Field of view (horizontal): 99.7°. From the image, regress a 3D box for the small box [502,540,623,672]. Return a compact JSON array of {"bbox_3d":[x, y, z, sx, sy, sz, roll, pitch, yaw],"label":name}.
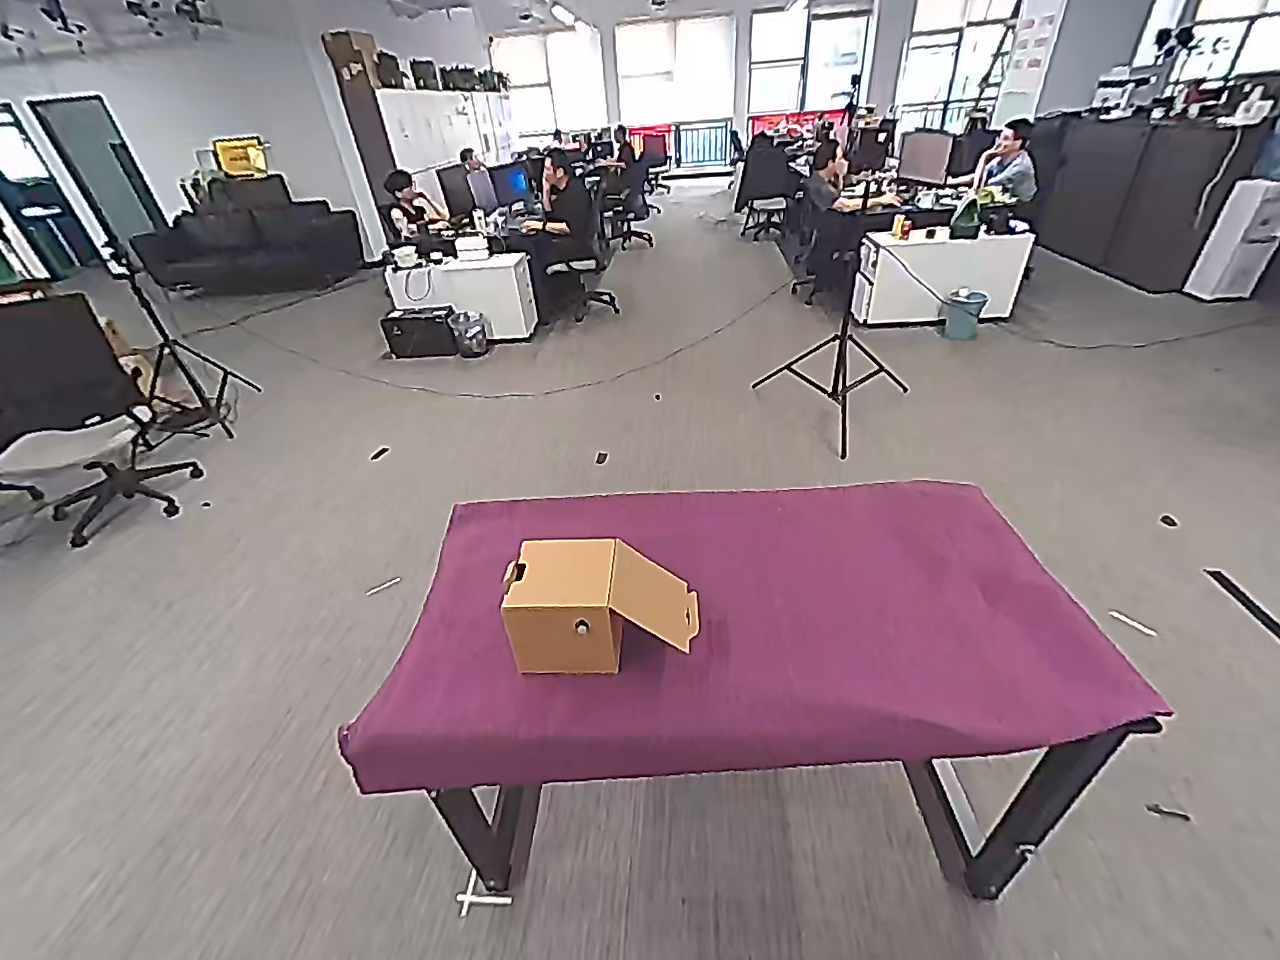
[{"bbox_3d":[-0.125,0.225,0.964,0.179,0.176,0.168,-2,33,5],"label":"small box"}]
